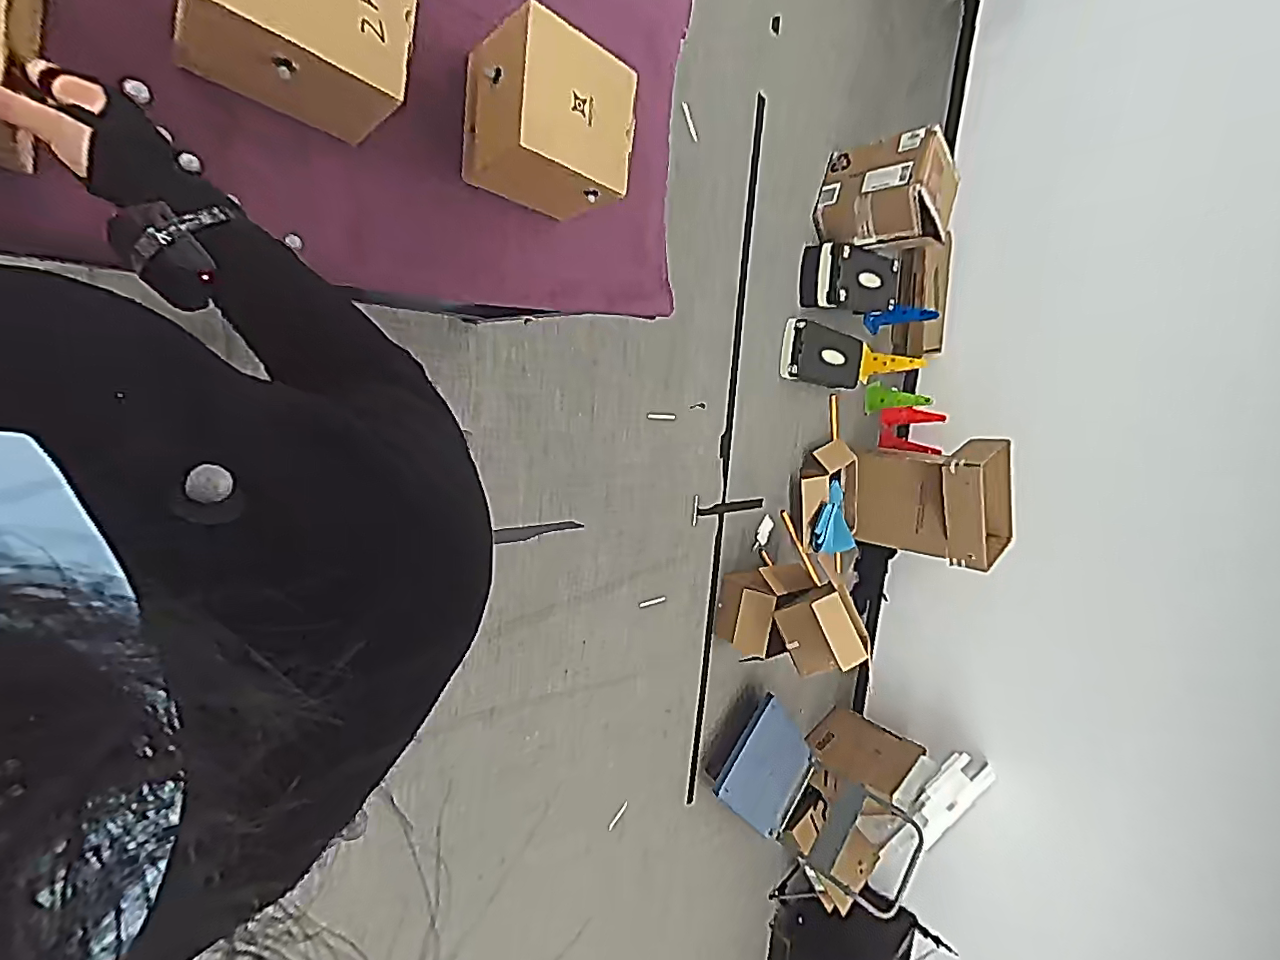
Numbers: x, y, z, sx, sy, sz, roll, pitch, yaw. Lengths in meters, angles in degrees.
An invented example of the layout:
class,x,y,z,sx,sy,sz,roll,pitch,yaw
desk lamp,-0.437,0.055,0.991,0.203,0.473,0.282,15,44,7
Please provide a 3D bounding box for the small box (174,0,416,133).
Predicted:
class,x,y,z,sx,sy,sz,roll,pitch,yaw
small box,-0.346,-0.488,0.545,0.179,0.176,0.168,5,97,-45

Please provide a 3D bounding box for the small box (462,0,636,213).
class,x,y,z,sx,sy,sz,roll,pitch,yaw
small box,-0.131,-0.494,0.754,0.179,0.176,0.168,-1,99,-44
